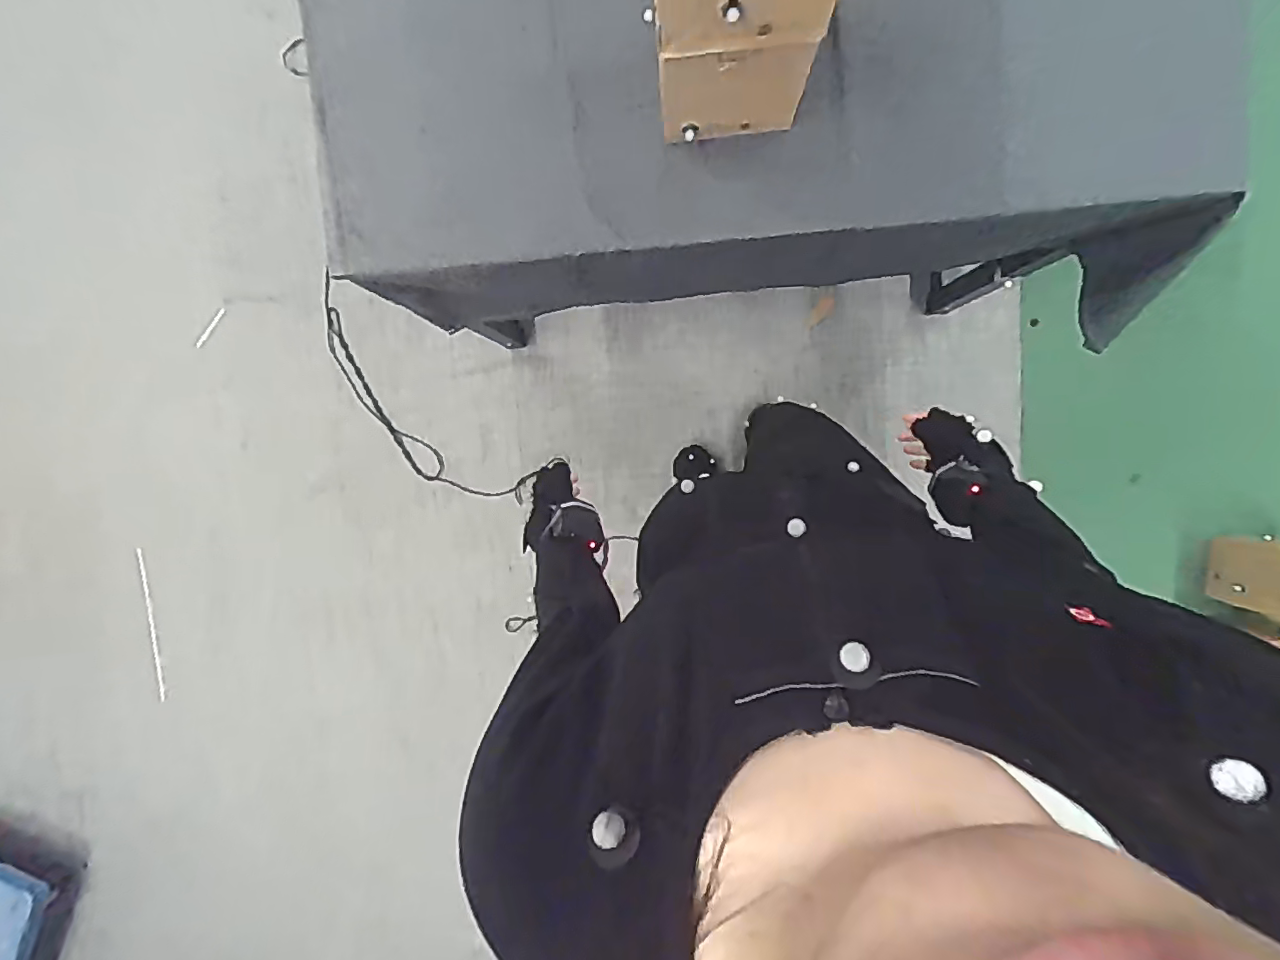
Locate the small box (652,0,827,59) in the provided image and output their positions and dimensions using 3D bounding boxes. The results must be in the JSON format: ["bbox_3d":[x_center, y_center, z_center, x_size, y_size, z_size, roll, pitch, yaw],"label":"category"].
[{"bbox_3d":[0.088,-0.524,0.474,0.168,0.176,0.179,-4,94,5],"label":"small box"}]

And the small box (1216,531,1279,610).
[{"bbox_3d":[1.563,0.220,1.304,0.179,0.176,0.168,1,95,5],"label":"small box"}]

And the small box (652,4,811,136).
[{"bbox_3d":[0.099,-0.536,0.636,0.168,0.176,0.179,-4,93,5],"label":"small box"}]
